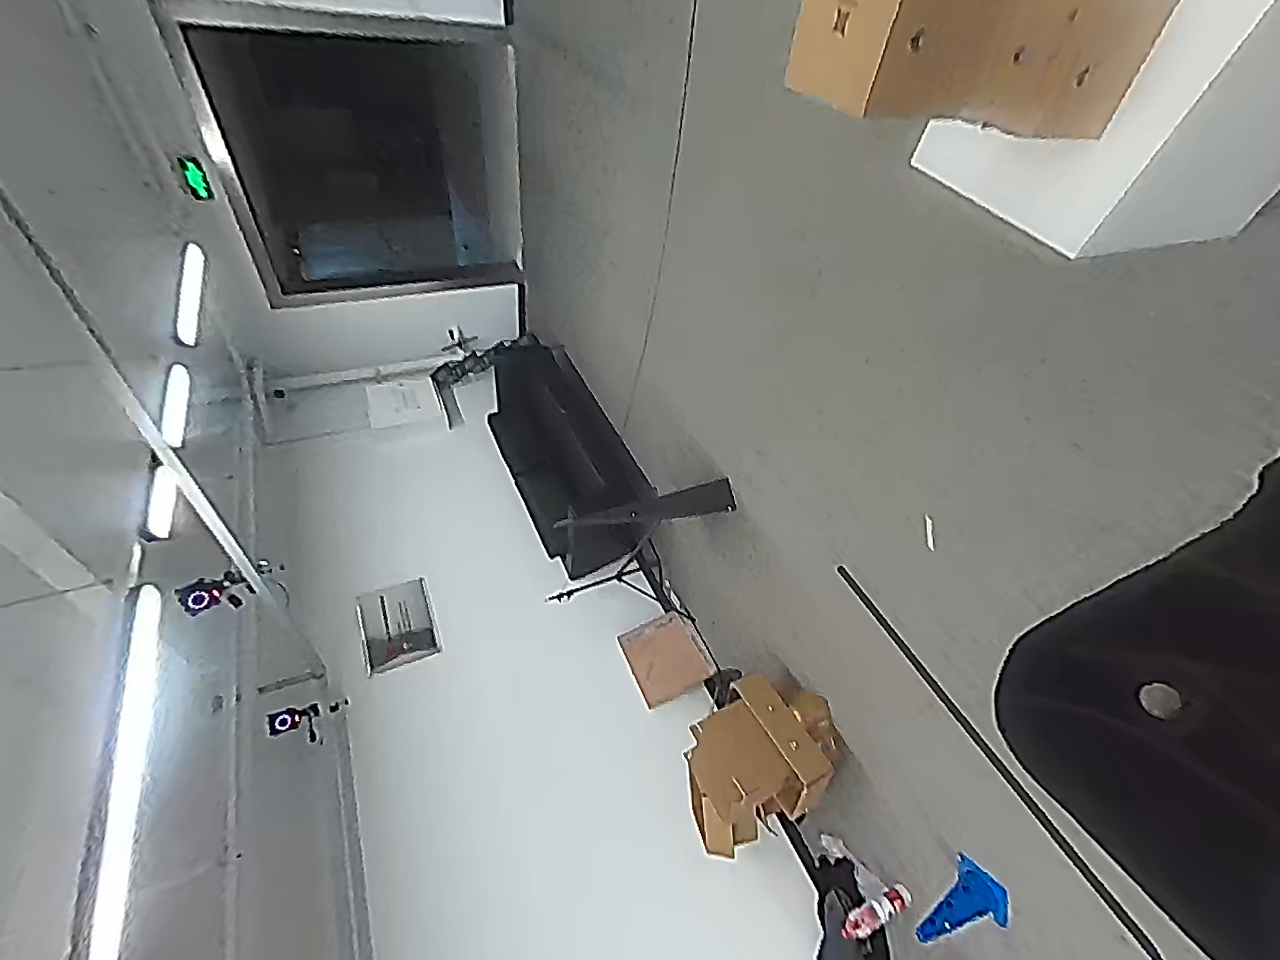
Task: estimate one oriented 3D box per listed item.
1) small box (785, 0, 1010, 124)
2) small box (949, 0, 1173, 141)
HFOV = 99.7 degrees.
[{"bbox_3d":[0.313,-0.558,0.660,0.168,0.176,0.179,58,152,37],"label":"small box"},{"bbox_3d":[0.607,-0.615,0.794,0.168,0.176,0.179,56,150,40],"label":"small box"}]
